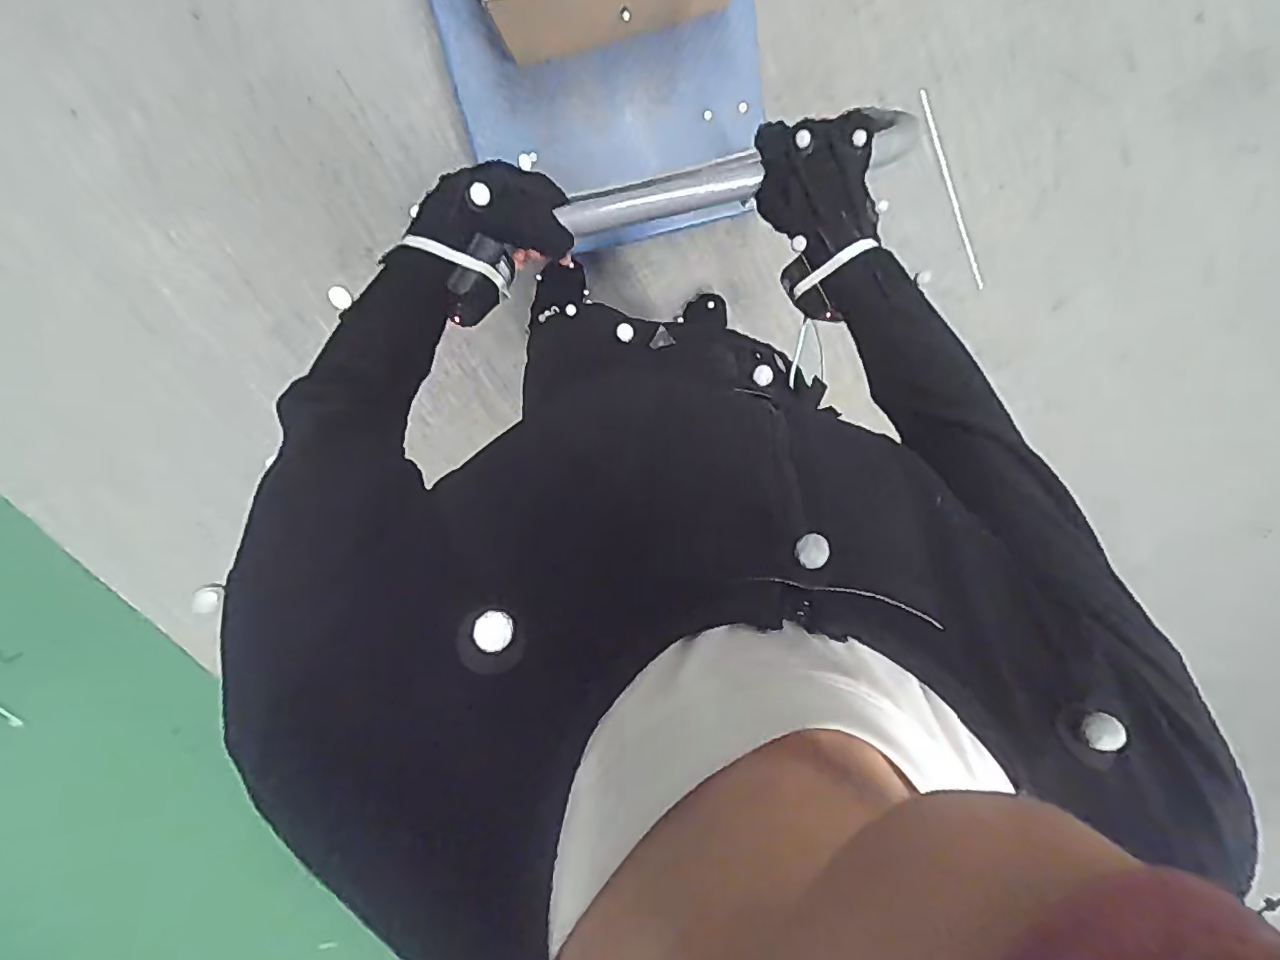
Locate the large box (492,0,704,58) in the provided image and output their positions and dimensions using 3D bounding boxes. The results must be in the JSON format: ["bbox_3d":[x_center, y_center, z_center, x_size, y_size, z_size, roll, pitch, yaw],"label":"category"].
[{"bbox_3d":[-0.061,-0.910,0.808,0.408,0.320,0.320,-15,113,4],"label":"large box"}]
